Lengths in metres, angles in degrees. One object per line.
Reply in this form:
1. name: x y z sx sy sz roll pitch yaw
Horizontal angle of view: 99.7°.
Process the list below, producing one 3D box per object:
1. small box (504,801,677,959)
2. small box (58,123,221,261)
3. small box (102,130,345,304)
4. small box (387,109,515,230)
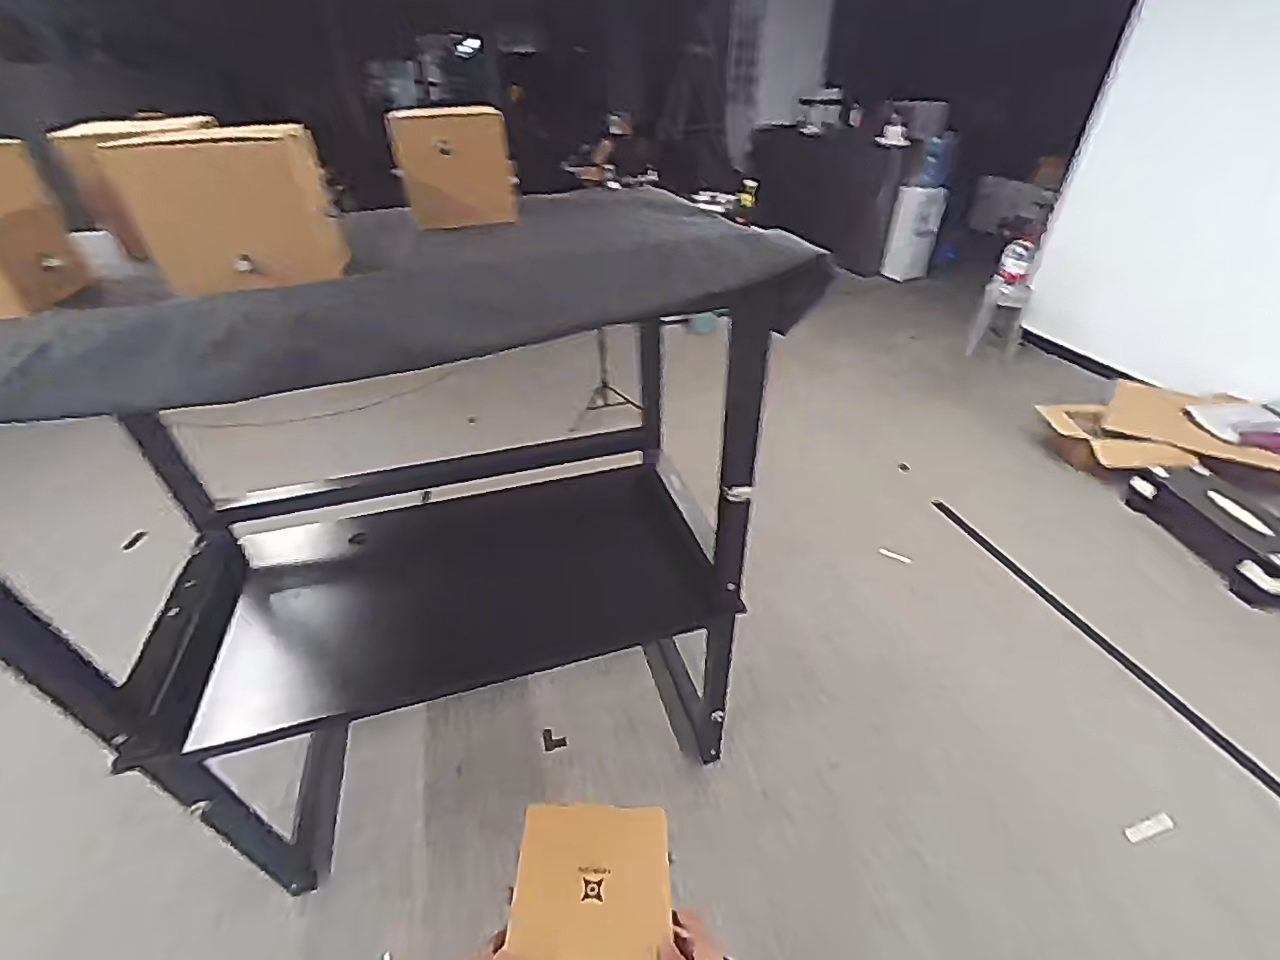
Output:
1. small box: -0.050 0.497 0.600 0.168 0.176 0.179 4 23 -2
2. small box: -0.739 -0.460 0.860 0.168 0.176 0.179 -17 40 -17
3. small box: -0.501 -0.339 0.690 0.179 0.176 0.168 -12 38 -13
4. small box: -0.332 -0.559 0.972 0.179 0.176 0.168 -11 39 -12
